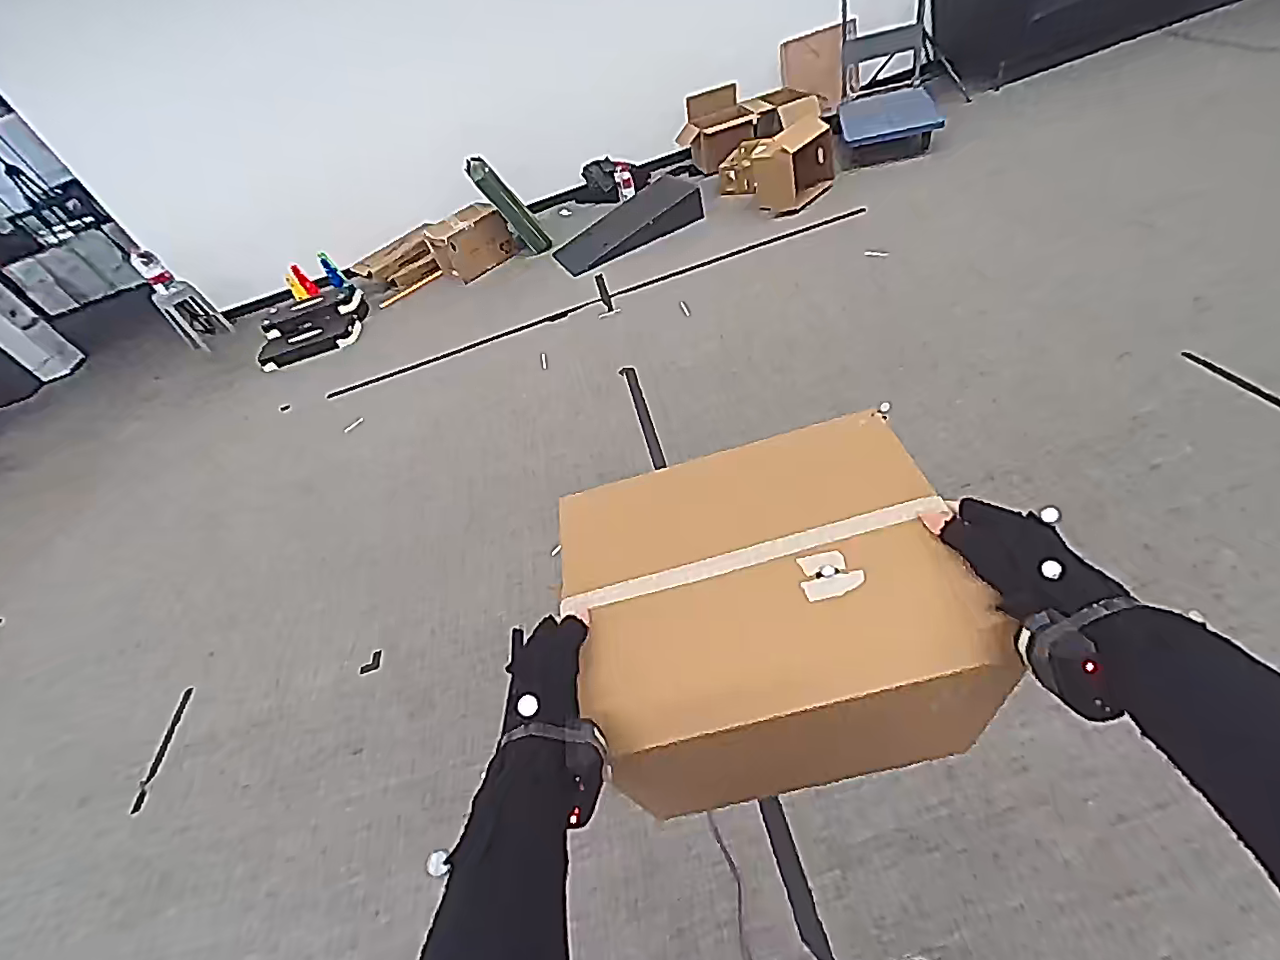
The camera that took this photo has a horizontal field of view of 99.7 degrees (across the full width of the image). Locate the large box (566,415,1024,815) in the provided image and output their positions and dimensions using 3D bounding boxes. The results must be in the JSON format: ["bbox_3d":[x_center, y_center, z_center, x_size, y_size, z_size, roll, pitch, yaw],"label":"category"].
[{"bbox_3d":[0.153,0.179,0.684,0.408,0.320,0.320,-16,48,4],"label":"large box"}]
